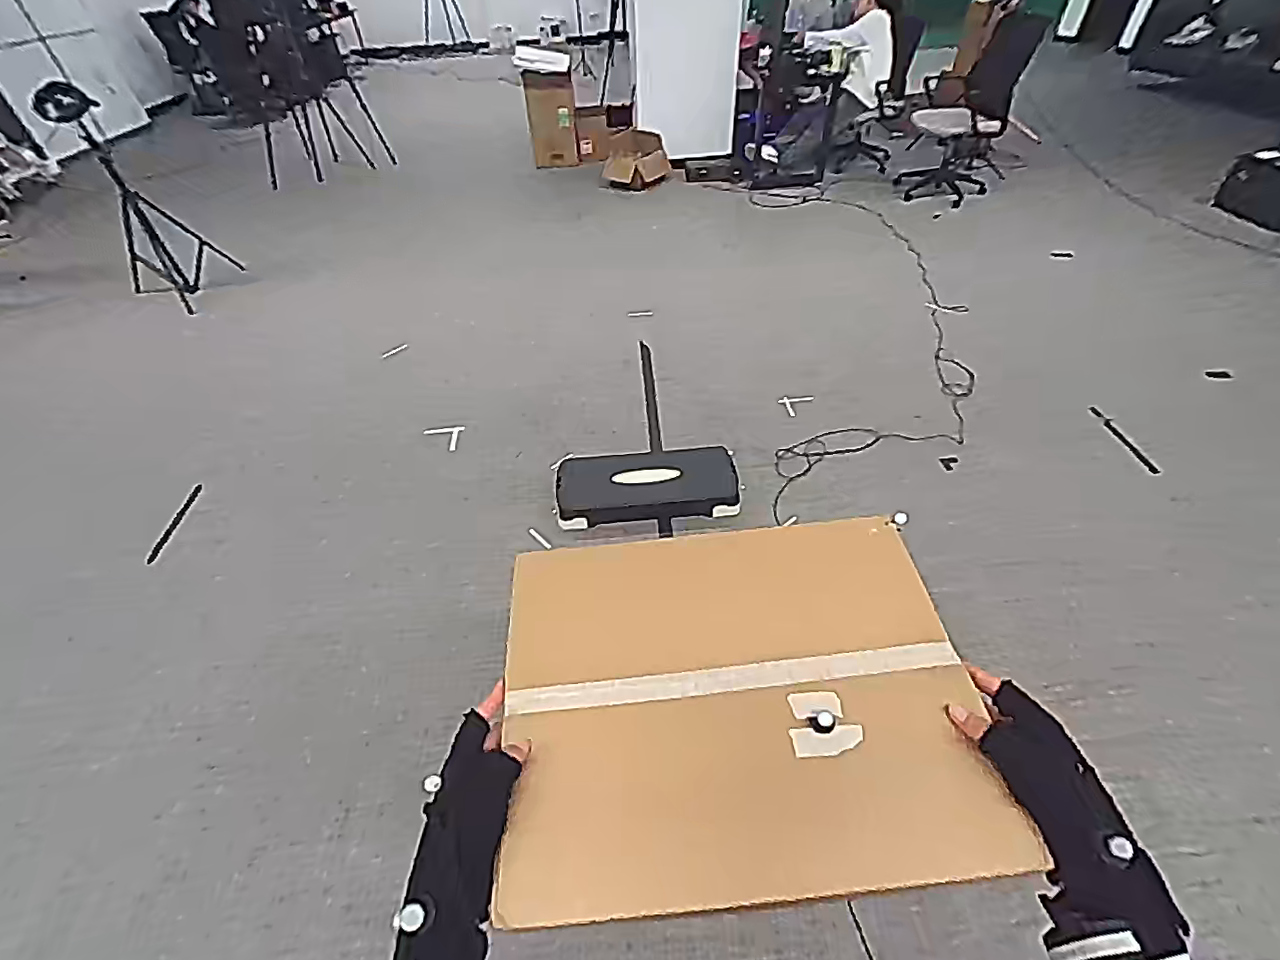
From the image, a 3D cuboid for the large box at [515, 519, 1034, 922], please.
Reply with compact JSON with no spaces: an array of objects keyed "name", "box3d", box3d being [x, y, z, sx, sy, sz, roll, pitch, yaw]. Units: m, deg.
[{"name":"large box","box3d":[0.095,0.275,0.609,0.408,0.320,0.320,-6,51,-1]}]
